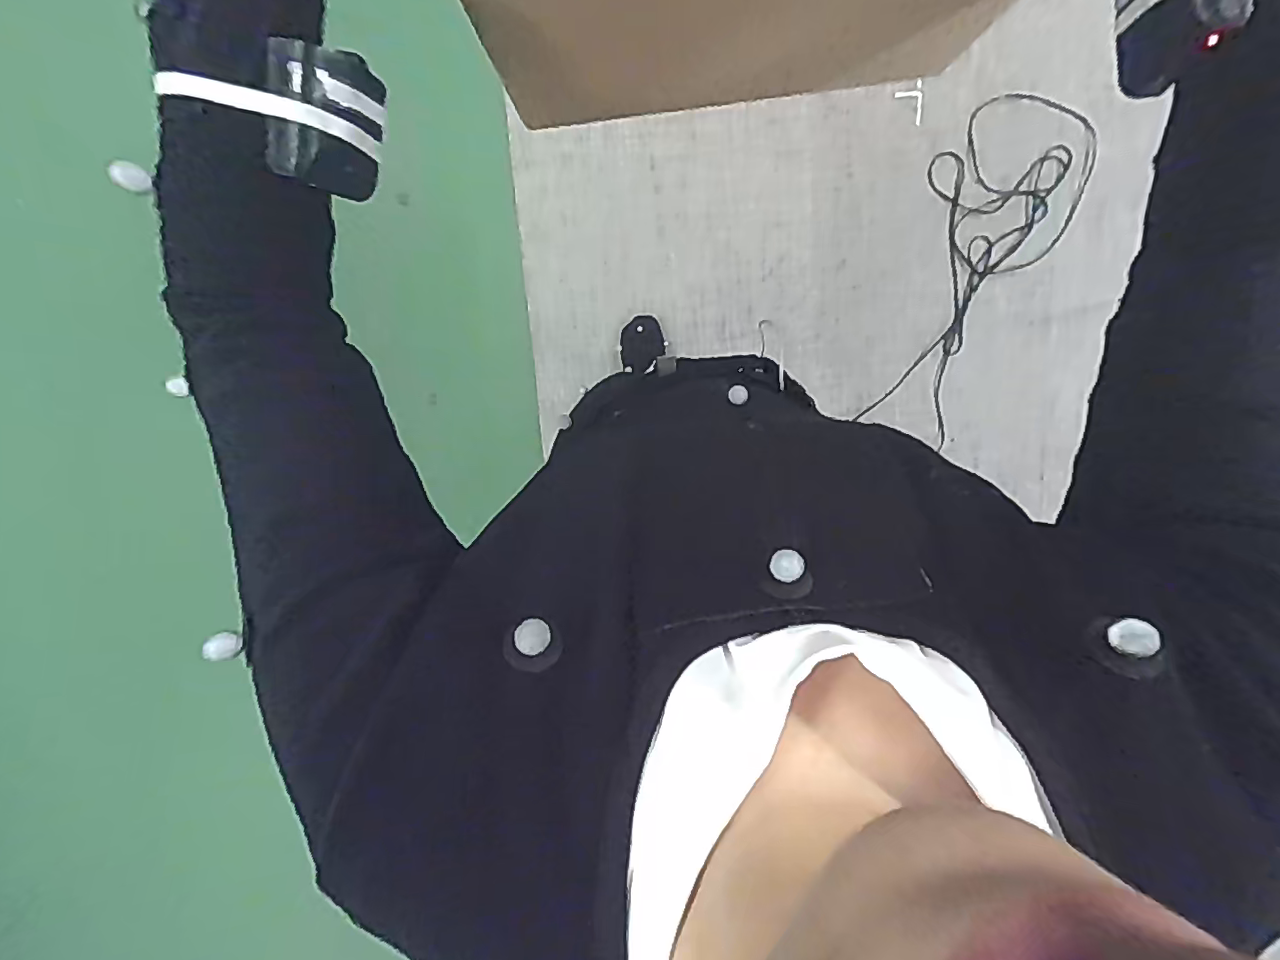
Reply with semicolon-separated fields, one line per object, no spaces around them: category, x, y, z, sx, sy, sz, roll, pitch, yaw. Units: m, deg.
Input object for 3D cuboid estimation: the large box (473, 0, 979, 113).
large box;0.062;-0.489;0.336;0.408;0.320;0.320;-7;104;1
